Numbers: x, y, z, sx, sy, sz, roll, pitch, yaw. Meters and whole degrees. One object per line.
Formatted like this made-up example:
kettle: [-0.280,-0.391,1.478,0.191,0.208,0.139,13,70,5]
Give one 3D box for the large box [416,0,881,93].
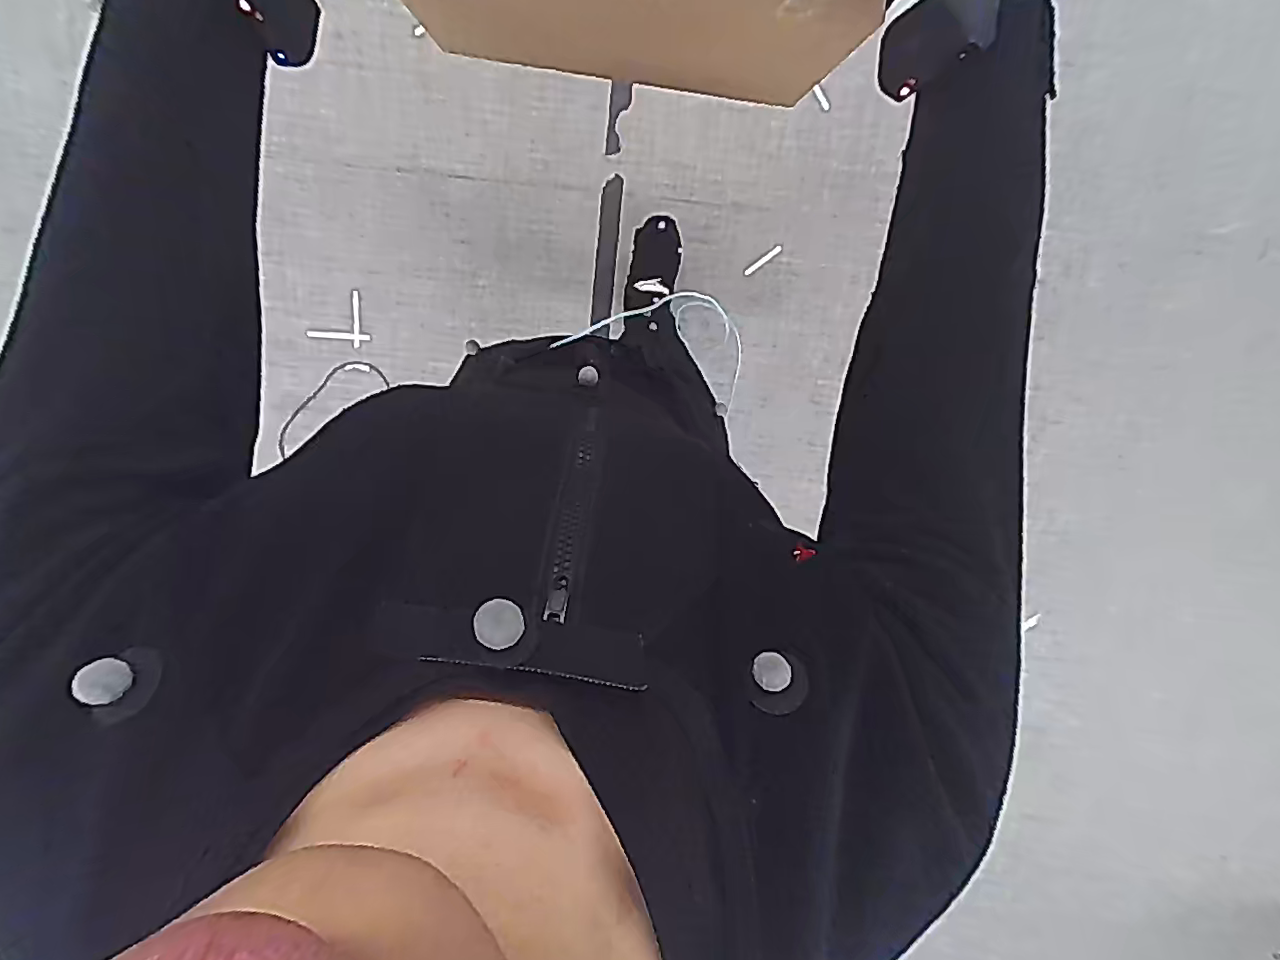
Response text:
large box: [0.003,-0.552,0.425,0.408,0.320,0.320,6,112,-5]
